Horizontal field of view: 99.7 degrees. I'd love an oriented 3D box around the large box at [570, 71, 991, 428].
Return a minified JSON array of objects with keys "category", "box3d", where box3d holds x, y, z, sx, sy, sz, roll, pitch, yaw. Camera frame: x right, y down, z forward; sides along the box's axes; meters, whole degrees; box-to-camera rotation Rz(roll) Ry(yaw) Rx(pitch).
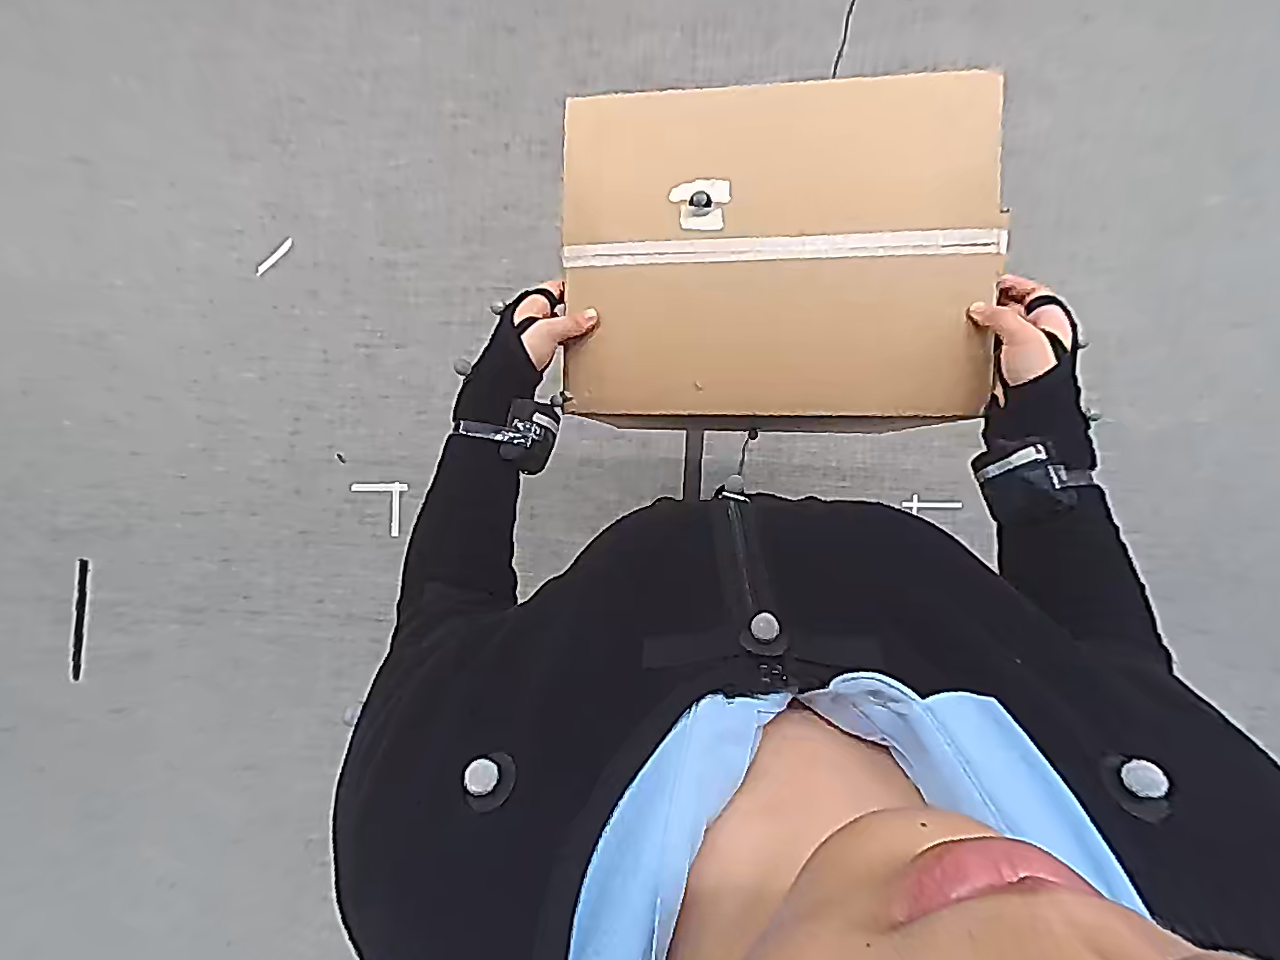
[{"category":"large box","box3d":[0.149,-0.227,0.674,0.408,0.320,0.320,1,91,9]}]
